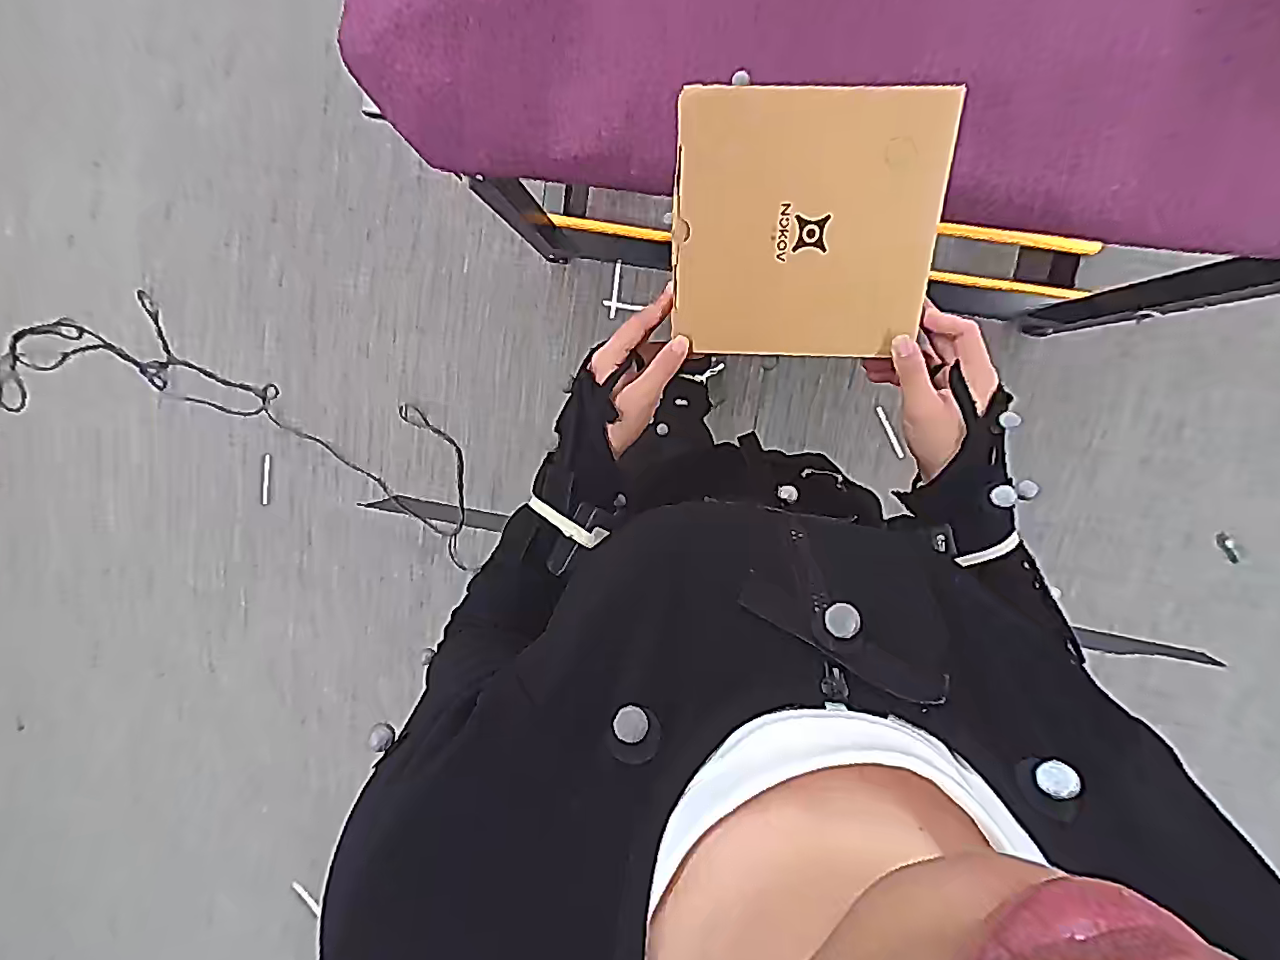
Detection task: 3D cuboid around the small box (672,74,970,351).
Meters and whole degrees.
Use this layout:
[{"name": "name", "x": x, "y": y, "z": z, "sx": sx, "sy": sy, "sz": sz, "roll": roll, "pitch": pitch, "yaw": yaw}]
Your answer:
[{"name": "small box", "x": 0.117, "y": -0.201, "z": 0.432, "sx": 0.179, "sy": 0.176, "sz": 0.168, "roll": 2, "pitch": 112, "yaw": 4}]
